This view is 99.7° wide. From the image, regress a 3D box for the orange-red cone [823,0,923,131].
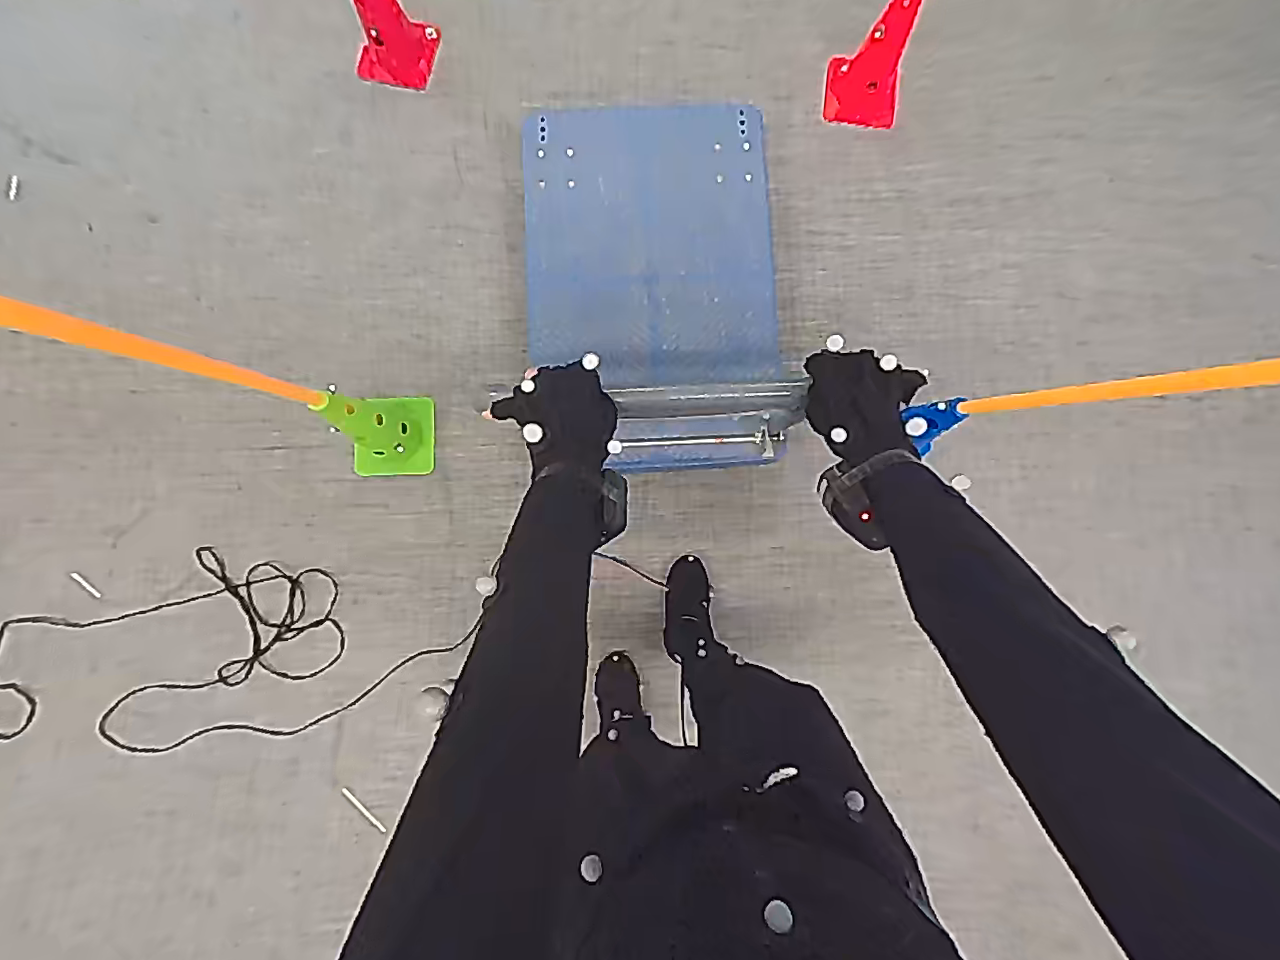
[{"bbox_3d":[0.622,-1.096,1.345,0.198,0.360,0.199,10,84,1],"label":"orange-red cone"}]
